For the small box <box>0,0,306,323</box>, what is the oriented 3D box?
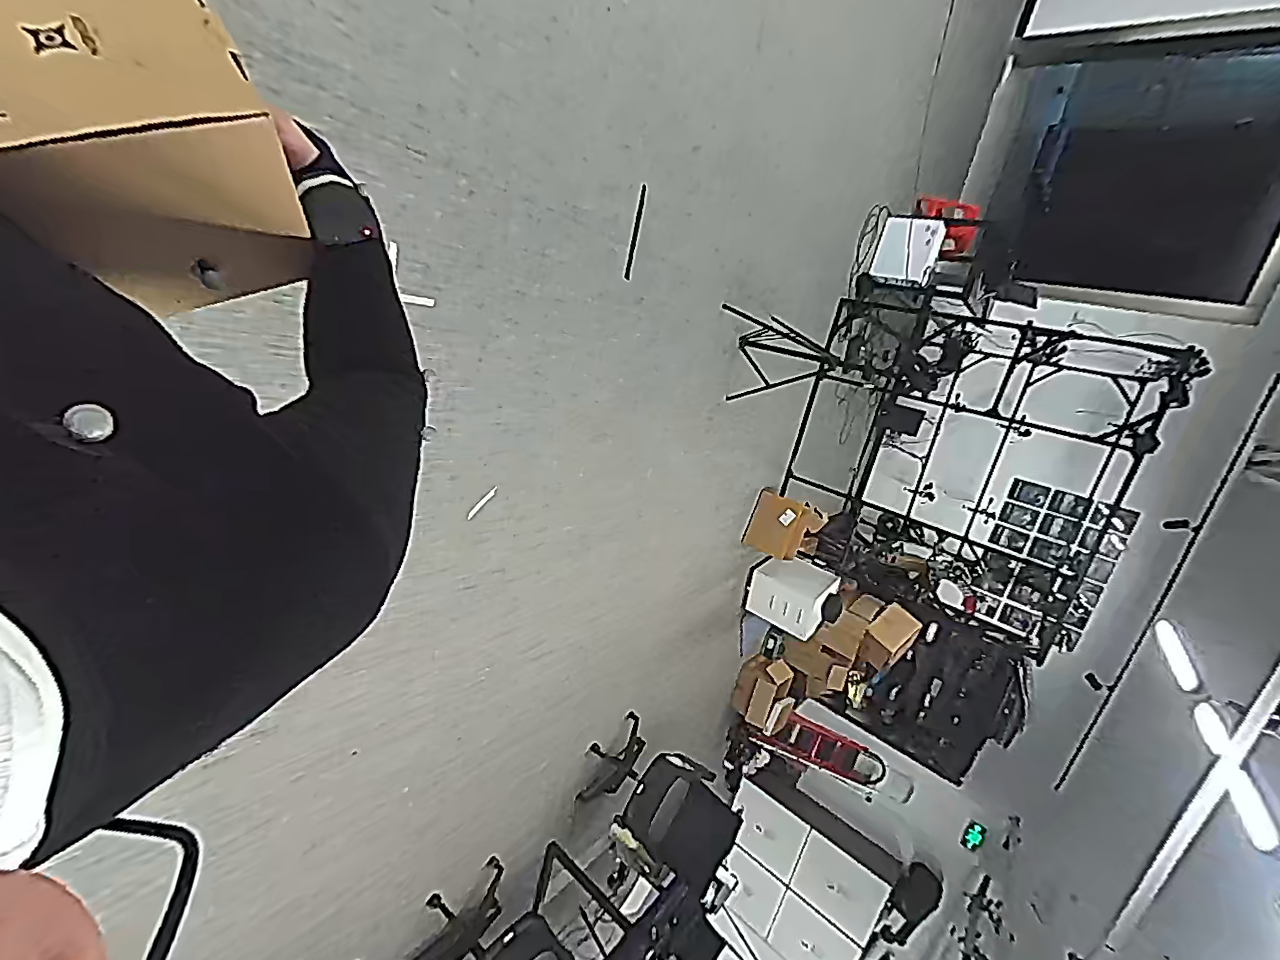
[{"bbox_3d":[-0.404,-0.261,0.442,0.179,0.168,0.176,-29,170,-26],"label":"small box"}]
